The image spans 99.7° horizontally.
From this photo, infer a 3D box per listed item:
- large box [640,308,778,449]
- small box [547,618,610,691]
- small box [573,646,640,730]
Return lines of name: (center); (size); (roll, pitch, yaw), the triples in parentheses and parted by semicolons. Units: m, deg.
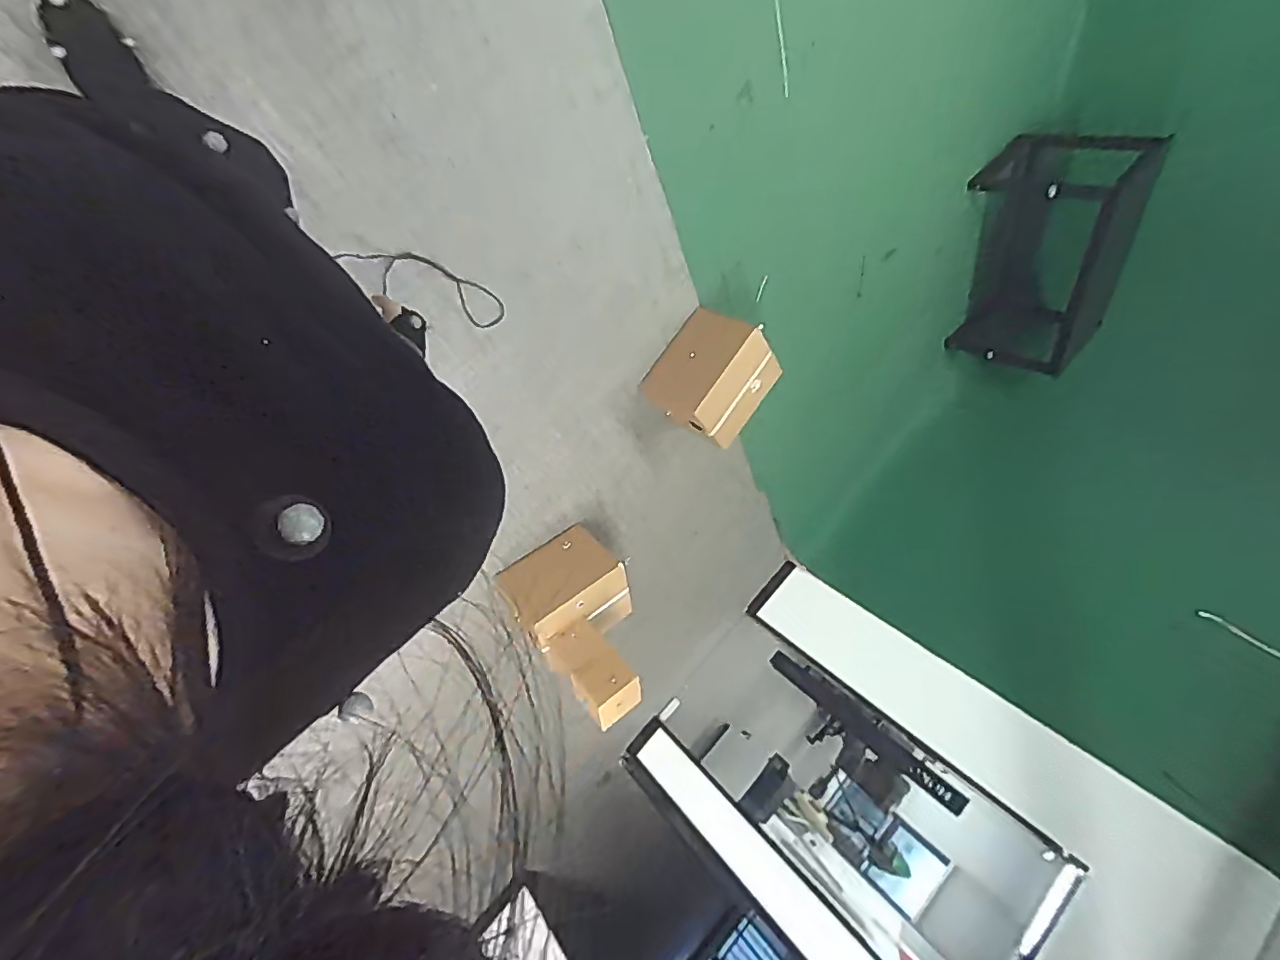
large box: (0.274, -0.403, 2.151); (0.408, 0.320, 0.320); (-55, 142, -3)
small box: (-0.219, 0.643, 1.989); (0.168, 0.176, 0.179); (-32, 136, -27)
small box: (-0.121, 0.721, 1.884); (0.179, 0.176, 0.168); (-31, 136, -28)
